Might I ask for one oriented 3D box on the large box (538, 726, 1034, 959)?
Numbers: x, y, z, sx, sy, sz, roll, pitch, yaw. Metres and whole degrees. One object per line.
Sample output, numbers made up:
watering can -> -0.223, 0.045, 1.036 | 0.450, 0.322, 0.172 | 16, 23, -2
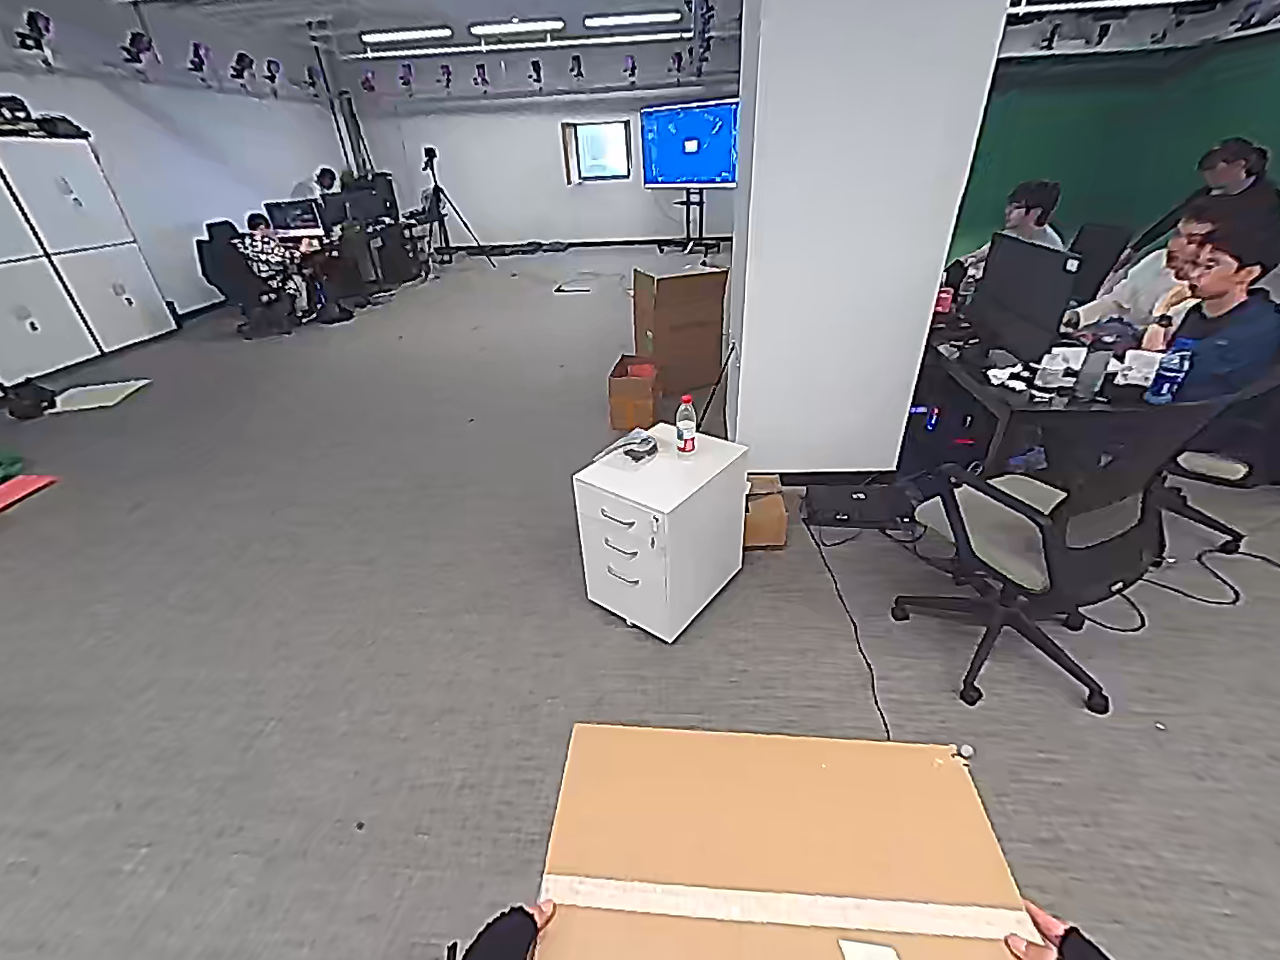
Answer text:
large box -> 0.120, 0.488, 0.546 | 0.408, 0.320, 0.320 | 2, 34, 5
